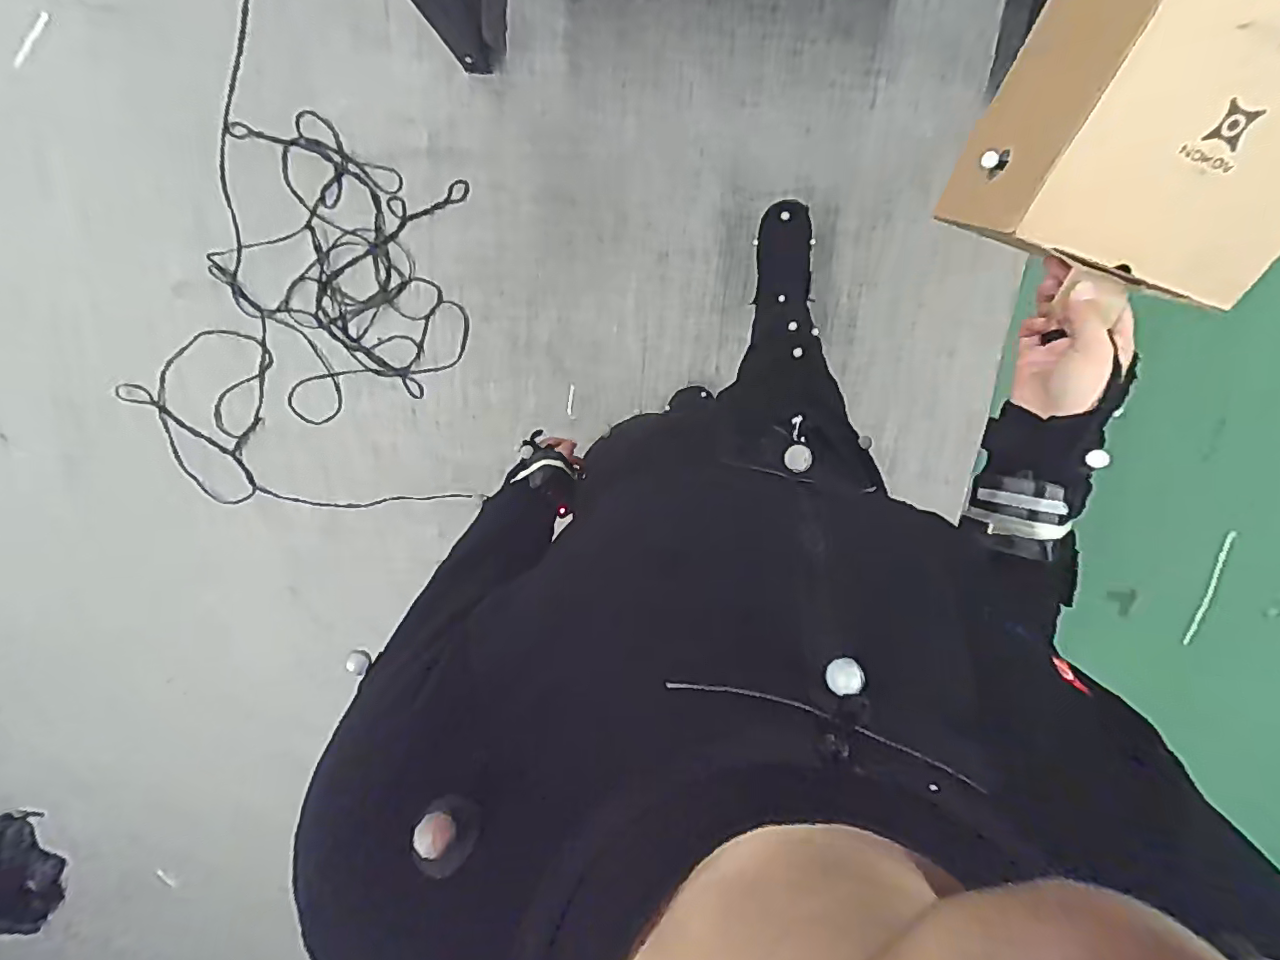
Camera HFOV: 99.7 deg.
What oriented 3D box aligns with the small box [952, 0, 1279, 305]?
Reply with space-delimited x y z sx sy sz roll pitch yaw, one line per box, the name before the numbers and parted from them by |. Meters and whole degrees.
small box | 0.364 -0.254 0.393 0.168 0.176 0.179 18 120 -3
